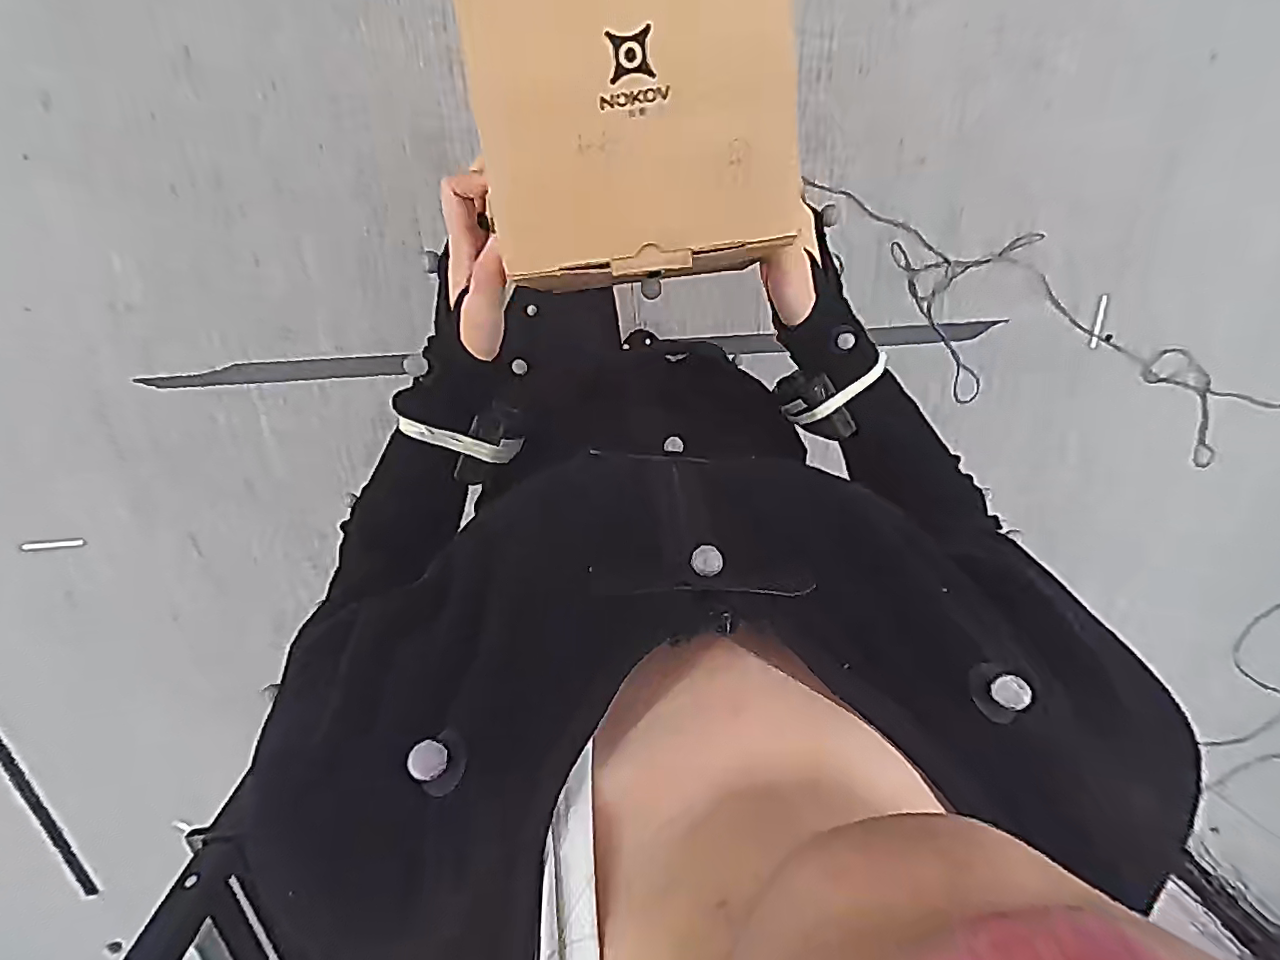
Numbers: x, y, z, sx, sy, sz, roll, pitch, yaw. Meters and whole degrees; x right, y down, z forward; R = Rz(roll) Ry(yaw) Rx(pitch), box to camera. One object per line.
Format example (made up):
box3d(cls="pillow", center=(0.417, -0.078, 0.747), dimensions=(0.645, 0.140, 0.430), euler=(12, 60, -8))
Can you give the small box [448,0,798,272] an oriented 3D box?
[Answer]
box3d(cls="small box", center=(-0.005, -0.231, 0.337), dimensions=(0.168, 0.176, 0.179), euler=(-7, 108, 3))
